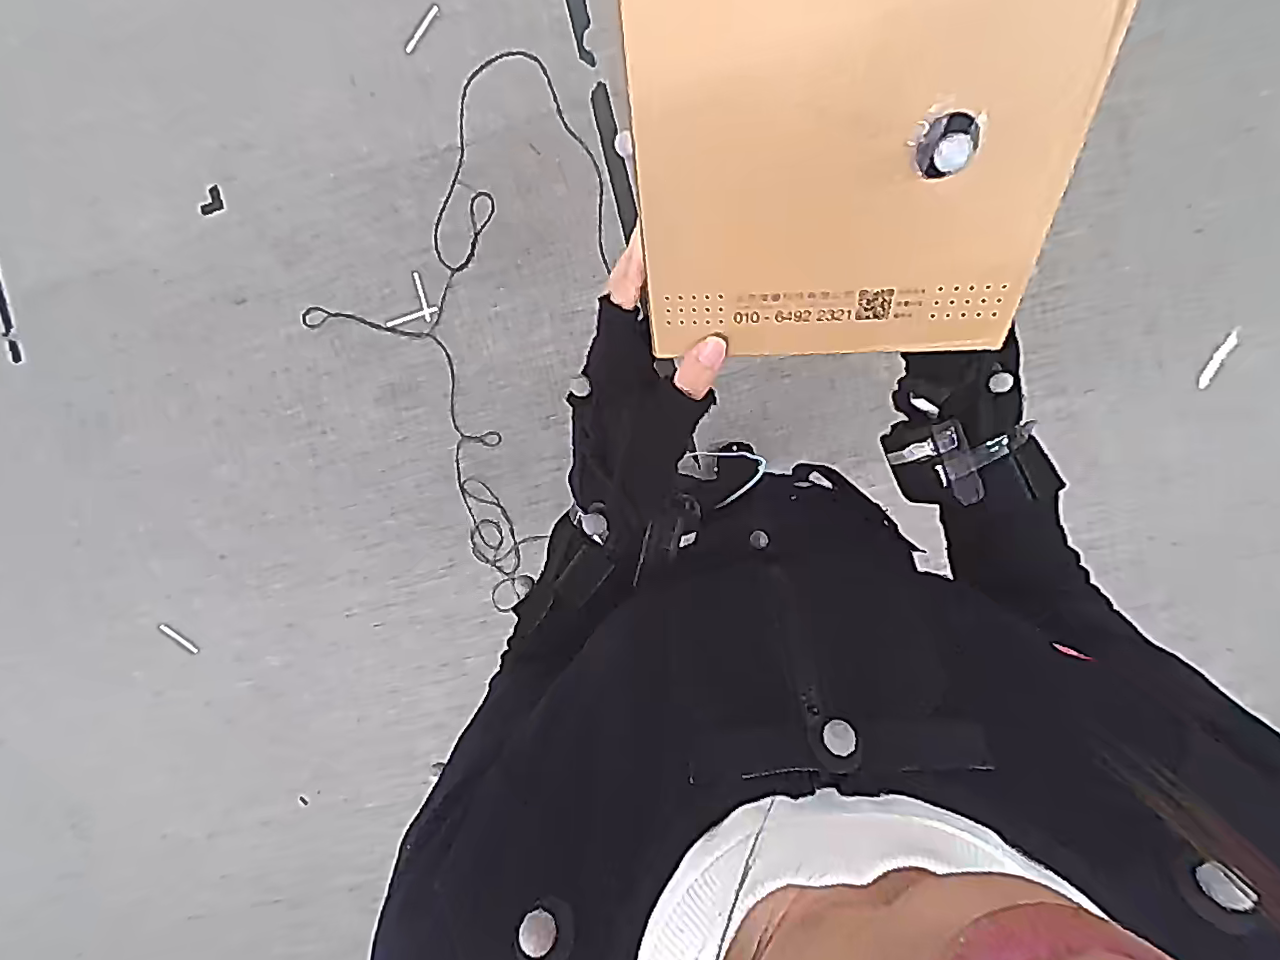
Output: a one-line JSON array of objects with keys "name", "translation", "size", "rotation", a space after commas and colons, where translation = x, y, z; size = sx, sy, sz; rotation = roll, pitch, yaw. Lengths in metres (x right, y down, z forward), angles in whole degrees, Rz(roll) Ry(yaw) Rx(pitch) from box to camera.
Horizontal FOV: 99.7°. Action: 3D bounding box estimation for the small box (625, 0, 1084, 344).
[{"name": "small box", "translation": [0.094, -0.185, 0.289], "size": [0.168, 0.179, 0.176], "rotation": [1, 134, 10]}]
